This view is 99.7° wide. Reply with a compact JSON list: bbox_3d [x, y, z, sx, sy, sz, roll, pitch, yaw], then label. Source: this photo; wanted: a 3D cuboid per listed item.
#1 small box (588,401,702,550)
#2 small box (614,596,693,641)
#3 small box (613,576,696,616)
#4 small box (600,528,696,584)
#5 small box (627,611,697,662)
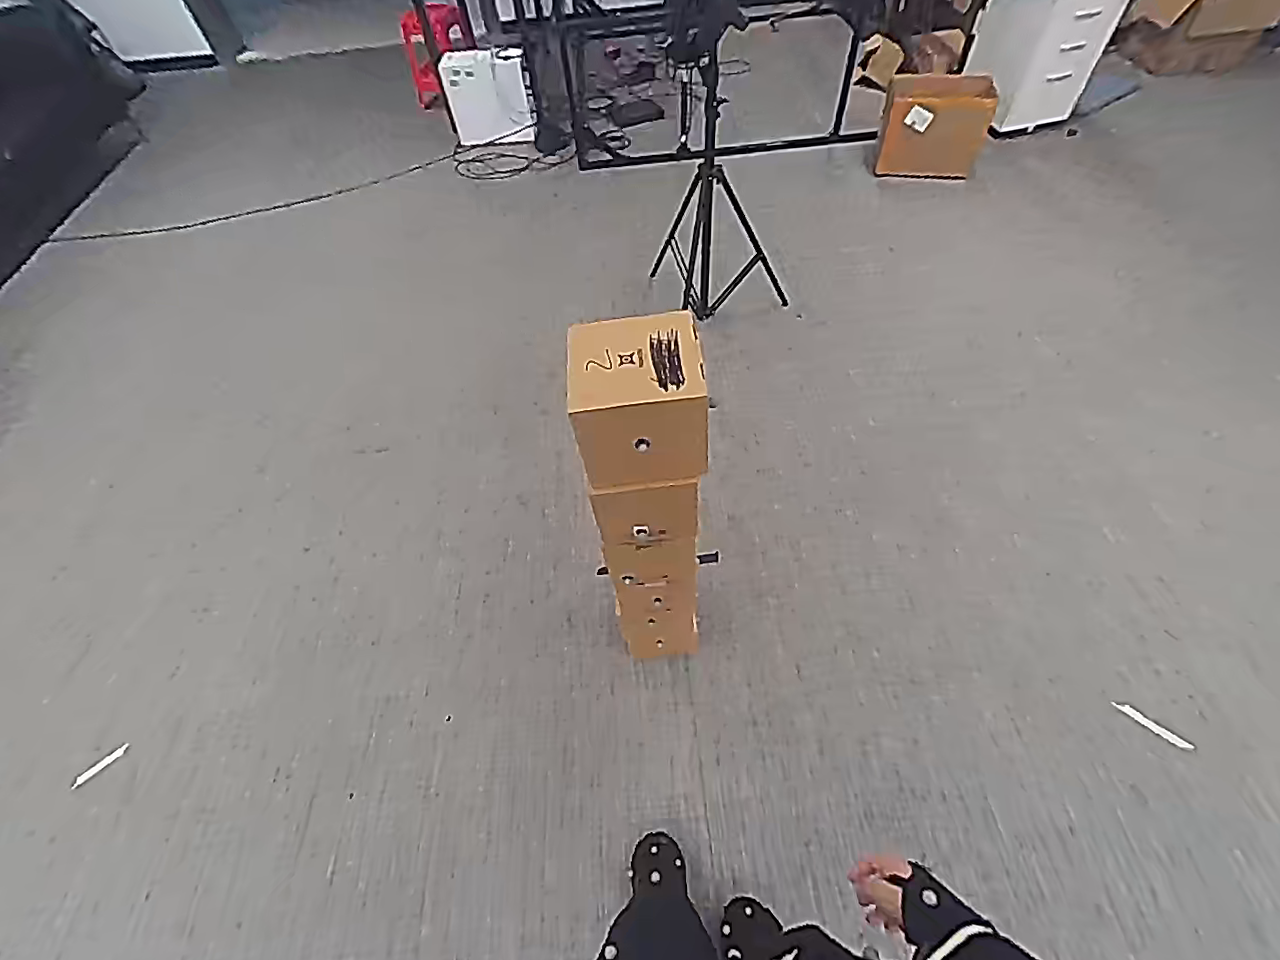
[{"bbox_3d":[0.007,-0.004,0.896,0.168,0.176,0.179,-7,56,1],"label":"small box"},{"bbox_3d":[0.035,0.280,1.294,0.179,0.176,0.168,-4,56,3],"label":"small box"},{"bbox_3d":[0.032,0.184,1.162,0.168,0.176,0.179,-4,56,2],"label":"small box"},{"bbox_3d":[0.017,0.089,1.029,0.168,0.176,0.179,-5,54,2],"label":"small box"},{"bbox_3d":[0.053,0.371,1.430,0.179,0.176,0.168,-6,55,1],"label":"small box"}]
